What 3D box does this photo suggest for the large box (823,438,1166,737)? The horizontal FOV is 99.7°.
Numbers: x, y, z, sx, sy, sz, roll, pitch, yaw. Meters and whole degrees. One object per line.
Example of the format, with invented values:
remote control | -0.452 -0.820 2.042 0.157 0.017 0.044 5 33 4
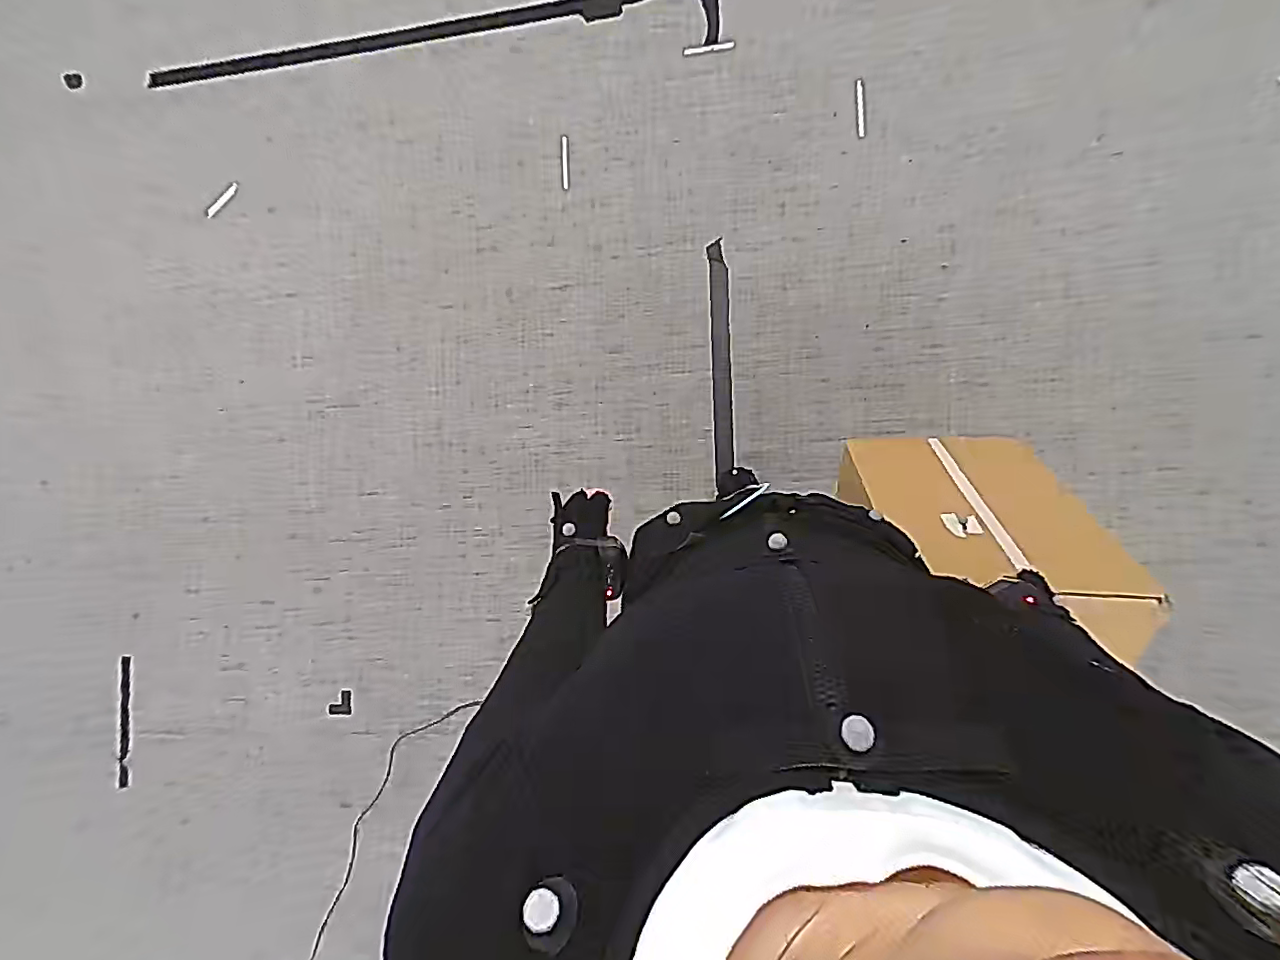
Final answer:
large box | 0.527 0.161 0.930 0.320 0.408 0.320 0 125 7
